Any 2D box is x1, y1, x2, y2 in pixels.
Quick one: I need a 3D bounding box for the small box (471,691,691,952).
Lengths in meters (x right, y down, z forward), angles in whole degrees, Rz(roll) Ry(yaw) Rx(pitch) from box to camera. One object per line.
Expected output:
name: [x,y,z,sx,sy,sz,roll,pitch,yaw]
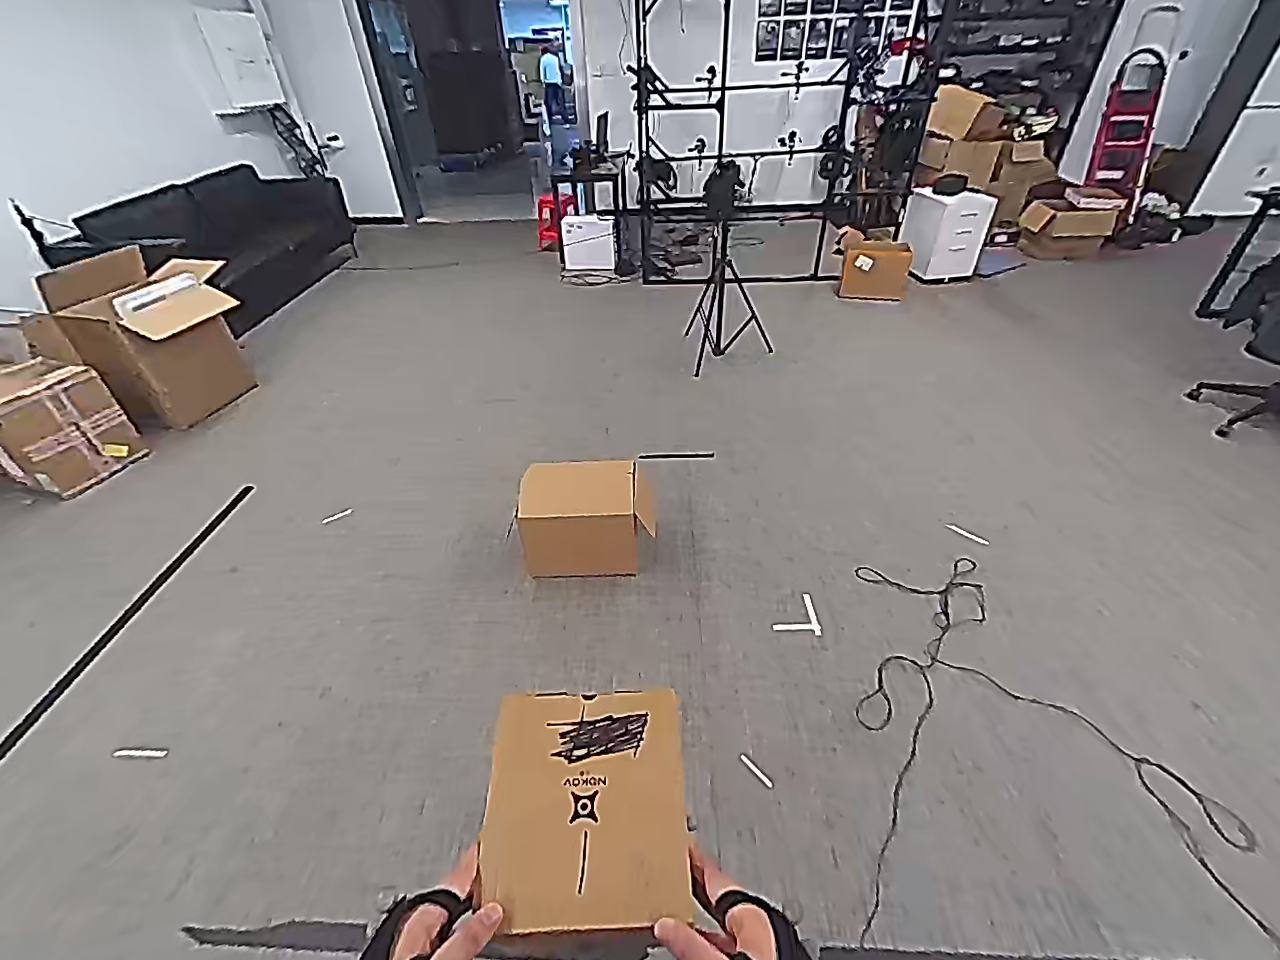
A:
small box: [-0.046,0.321,0.511,0.168,0.176,0.179,-2,45,-1]
